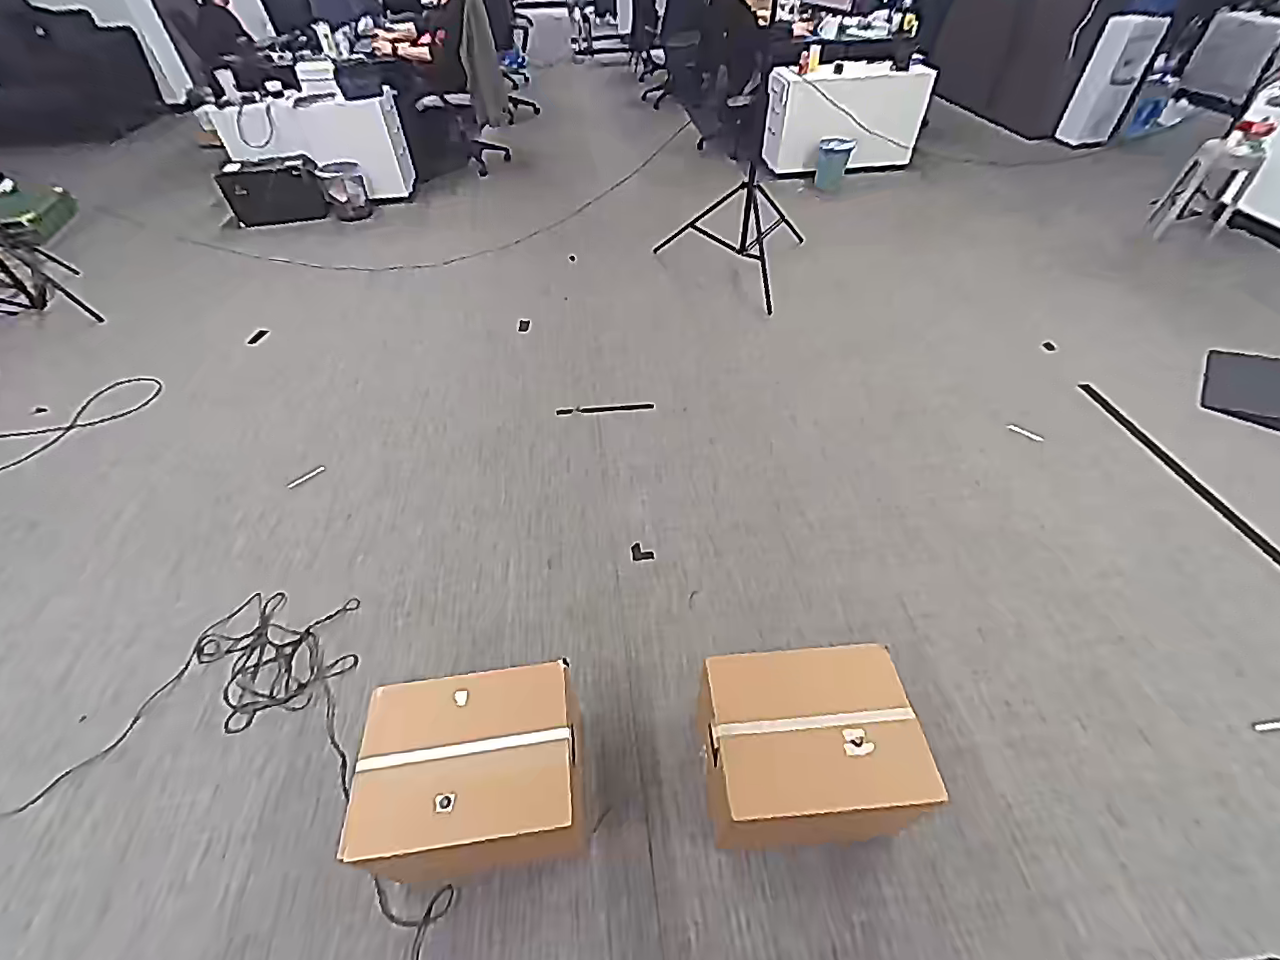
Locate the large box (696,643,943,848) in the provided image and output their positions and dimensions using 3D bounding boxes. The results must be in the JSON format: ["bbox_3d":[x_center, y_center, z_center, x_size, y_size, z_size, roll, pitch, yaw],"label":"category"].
[{"bbox_3d":[0.355,0.589,1.199,0.408,0.320,0.320,-3,47,-3],"label":"large box"}]
